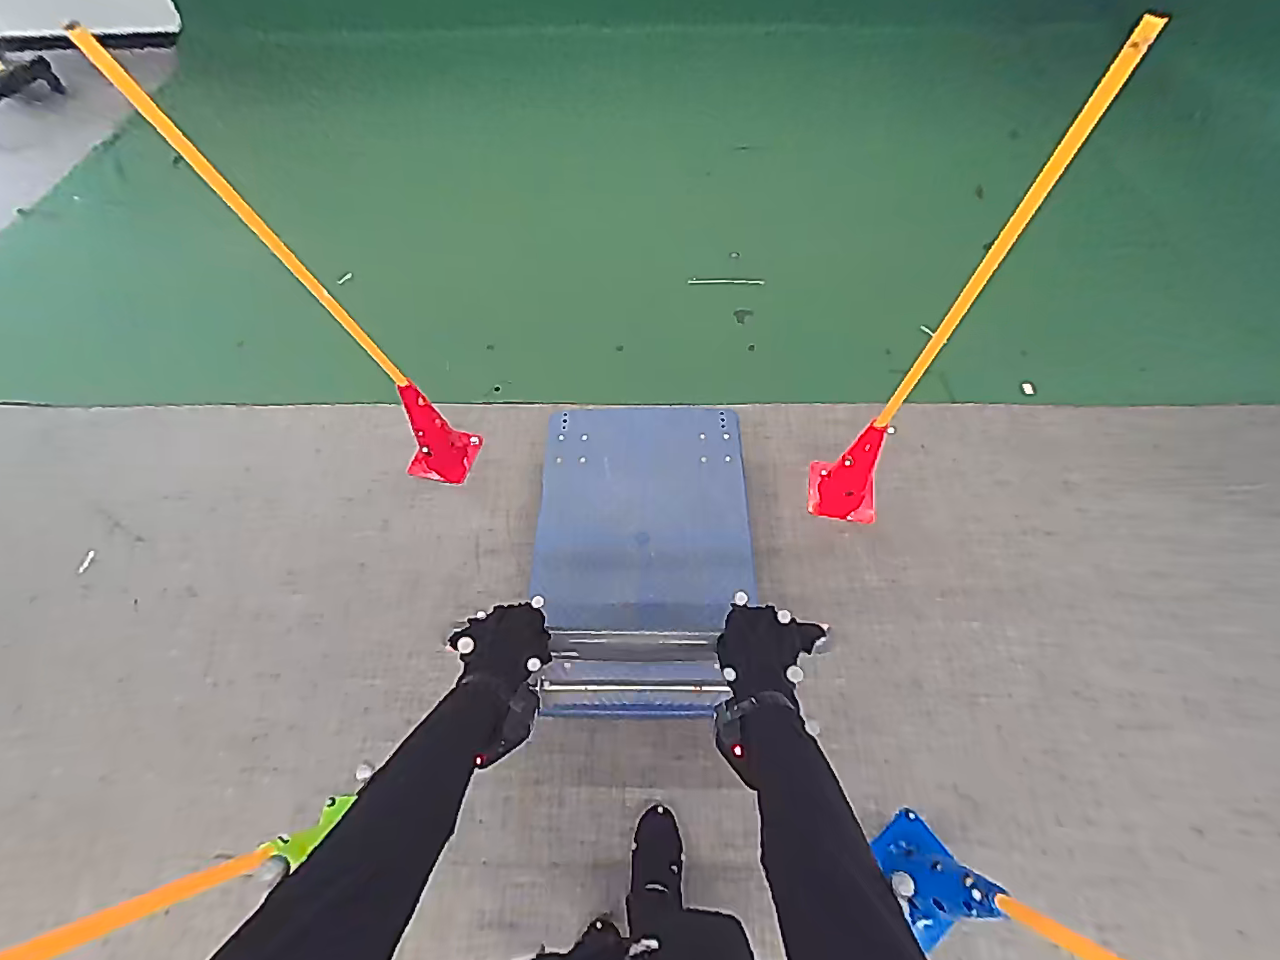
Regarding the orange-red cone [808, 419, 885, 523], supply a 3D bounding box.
[{"bbox_3d":[0.626,-0.051,1.551,0.198,0.360,0.199,10,59,8],"label":"orange-red cone"}]
